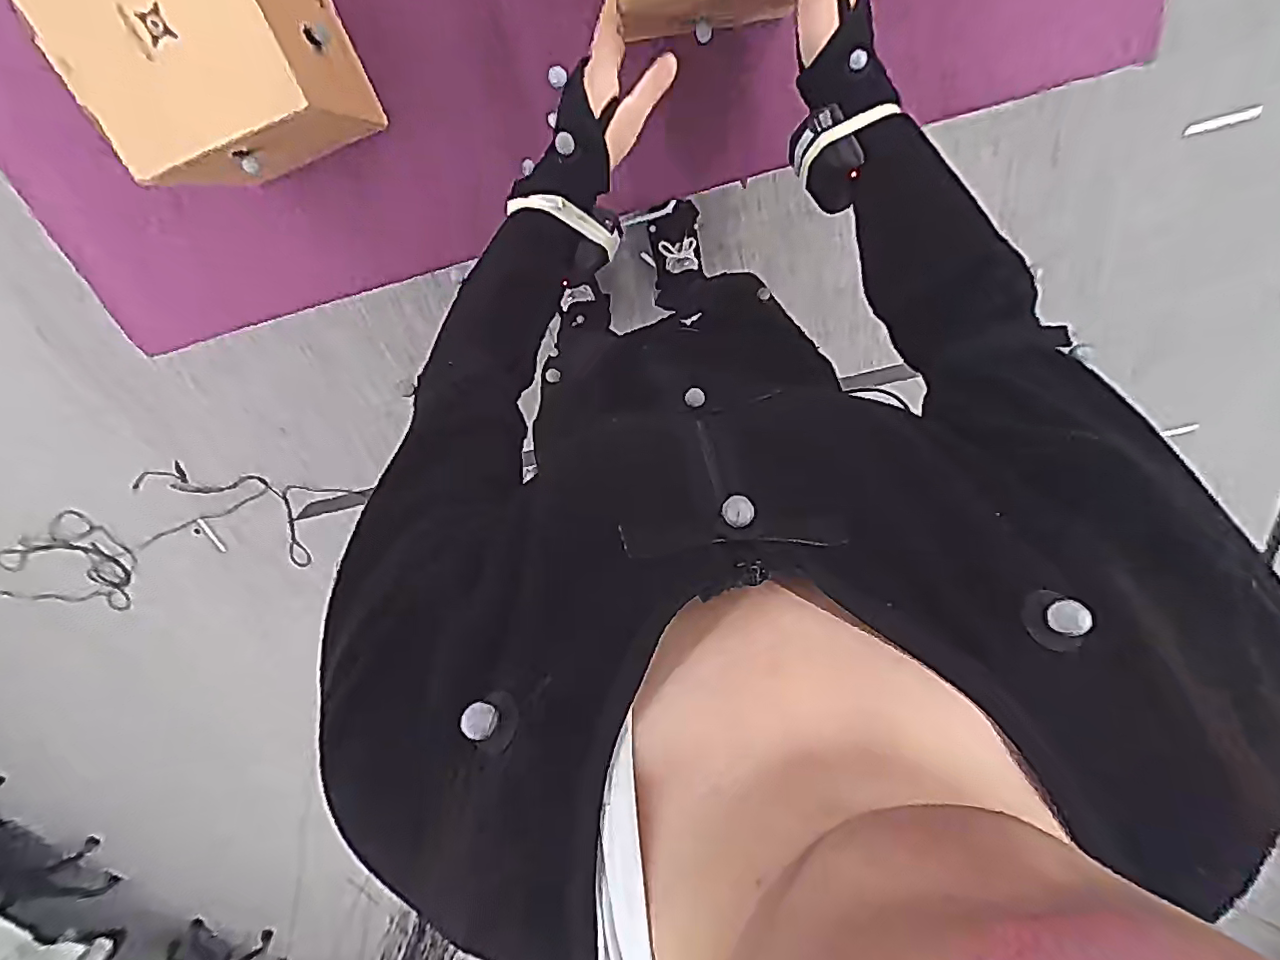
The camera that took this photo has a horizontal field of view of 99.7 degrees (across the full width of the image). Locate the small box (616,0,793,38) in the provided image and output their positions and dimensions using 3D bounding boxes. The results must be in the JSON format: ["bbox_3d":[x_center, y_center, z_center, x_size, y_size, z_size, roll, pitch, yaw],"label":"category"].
[{"bbox_3d":[0.052,-0.486,0.427,0.168,0.176,0.179,-6,120,3],"label":"small box"}]

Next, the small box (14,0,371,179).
[{"bbox_3d":[-0.373,-0.387,0.480,0.179,0.176,0.168,-16,118,9],"label":"small box"}]
